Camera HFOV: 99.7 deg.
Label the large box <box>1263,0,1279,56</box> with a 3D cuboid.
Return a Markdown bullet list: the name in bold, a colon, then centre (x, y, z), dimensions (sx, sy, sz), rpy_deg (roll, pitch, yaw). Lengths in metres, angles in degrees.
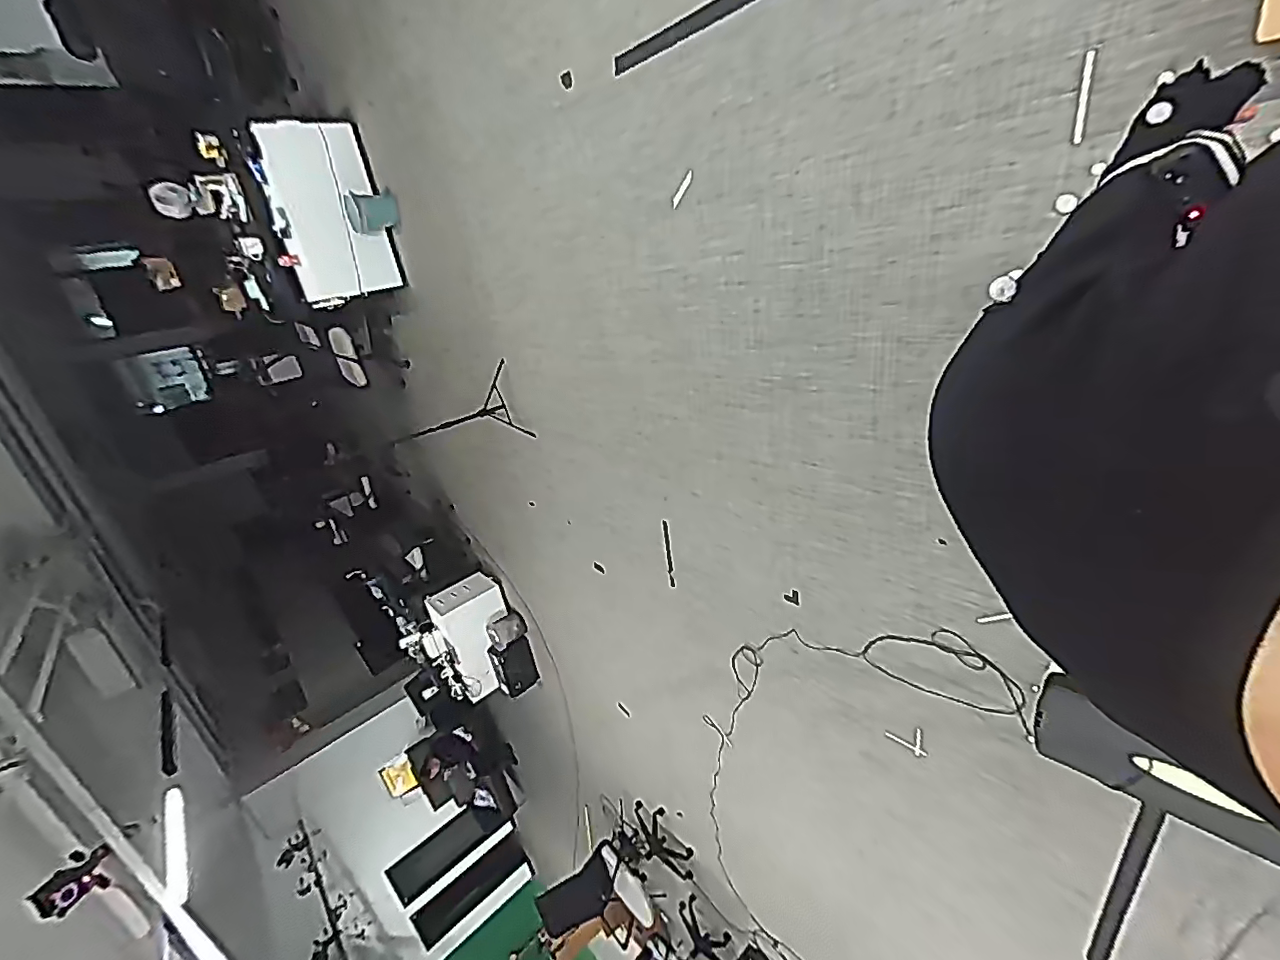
- **large box**: centre (1.012, -0.735, 0.588), dimensions (0.408, 0.320, 0.320), rpy_deg (14, 123, 46)
